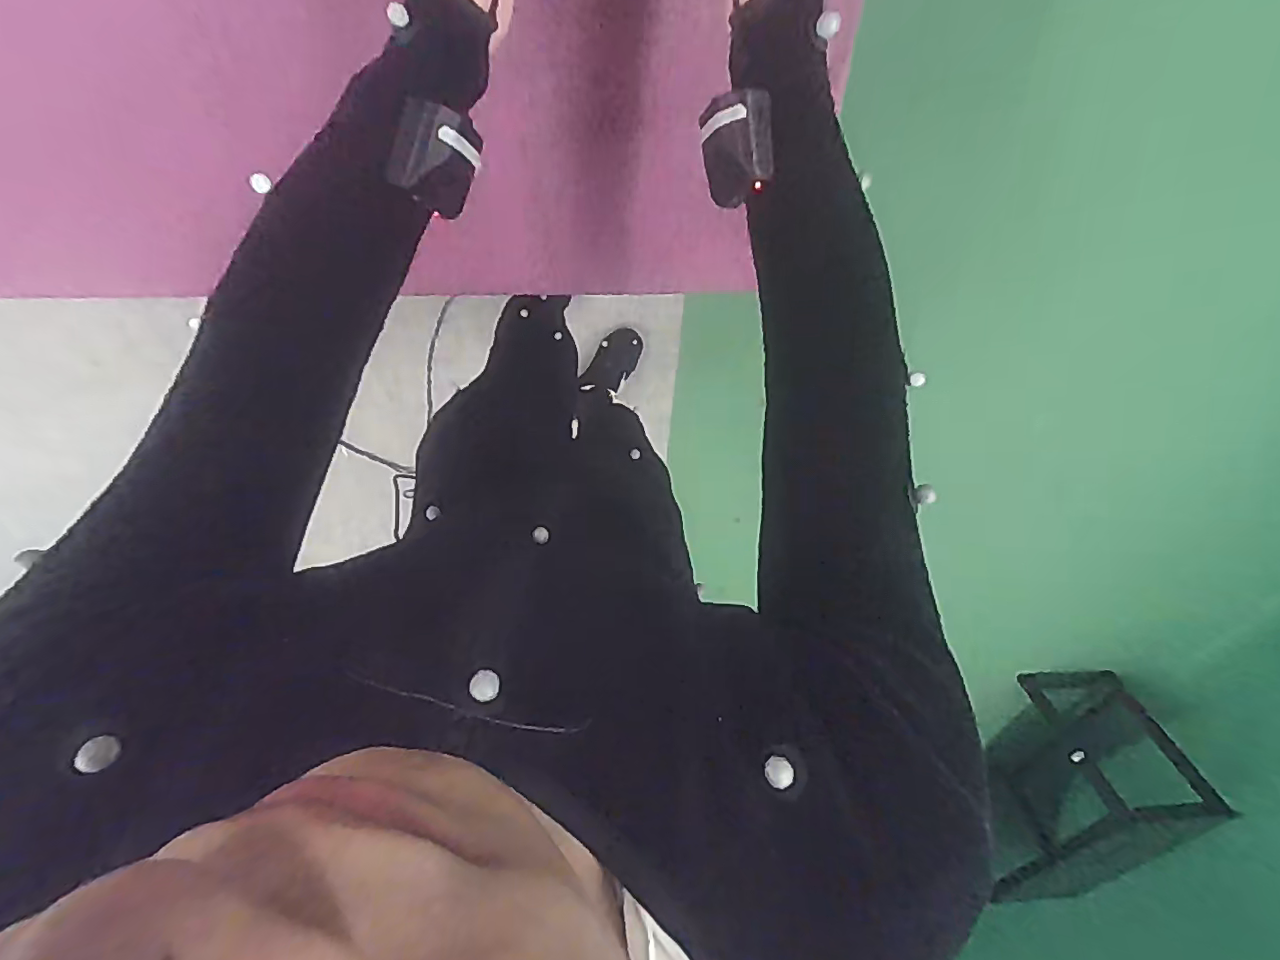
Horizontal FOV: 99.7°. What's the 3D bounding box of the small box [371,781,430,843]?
[{"bbox_3d":[-0.910,1.275,2.069,0.168,0.176,0.179,3,127,-9],"label":"small box"}]
